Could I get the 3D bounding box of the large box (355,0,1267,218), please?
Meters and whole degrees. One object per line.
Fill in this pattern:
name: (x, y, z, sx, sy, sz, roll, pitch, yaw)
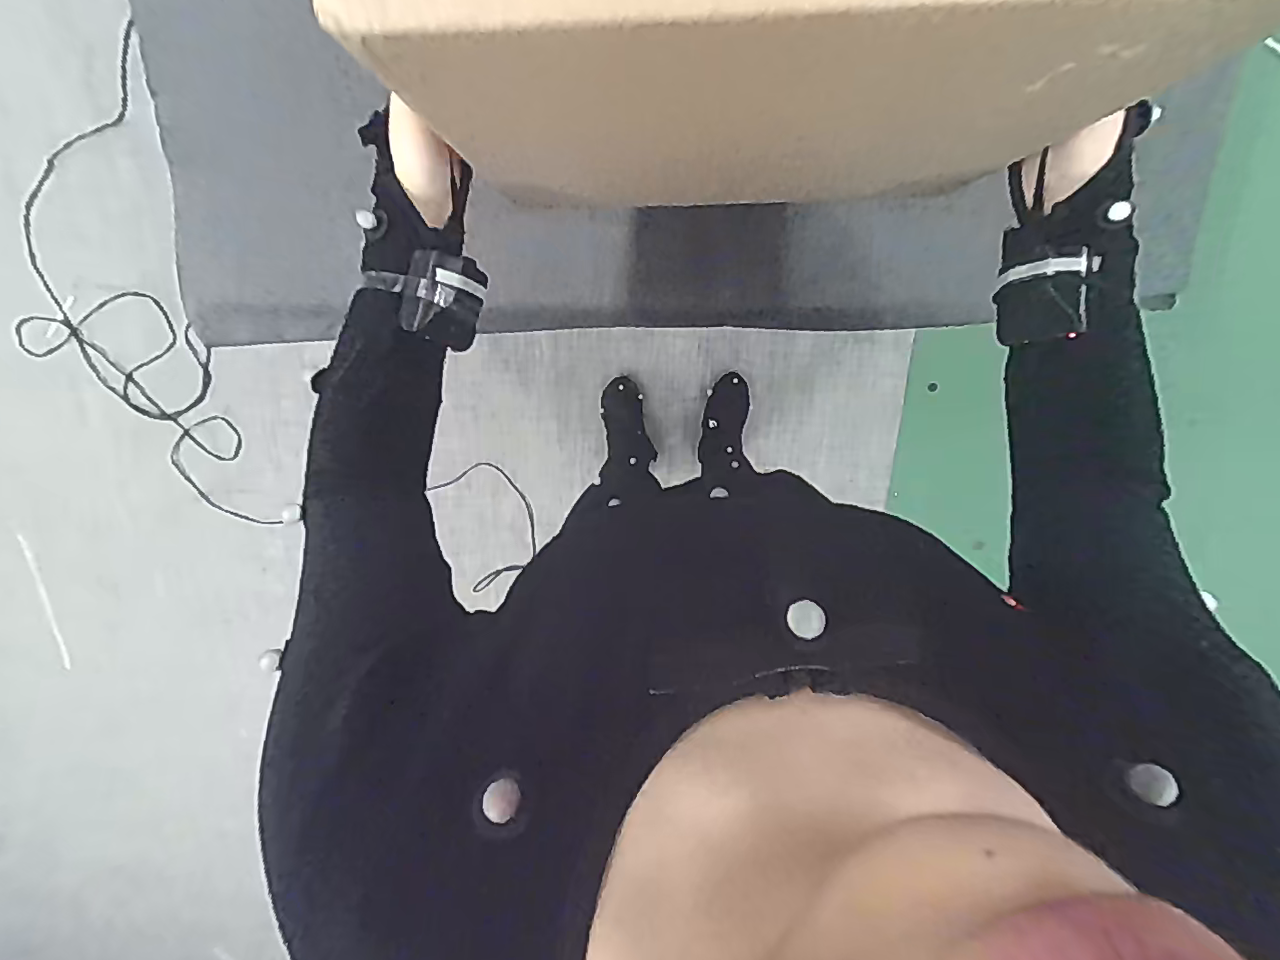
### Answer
large box: (0.070, -0.374, 0.336, 0.408, 0.320, 0.320, -2, 105, 2)
